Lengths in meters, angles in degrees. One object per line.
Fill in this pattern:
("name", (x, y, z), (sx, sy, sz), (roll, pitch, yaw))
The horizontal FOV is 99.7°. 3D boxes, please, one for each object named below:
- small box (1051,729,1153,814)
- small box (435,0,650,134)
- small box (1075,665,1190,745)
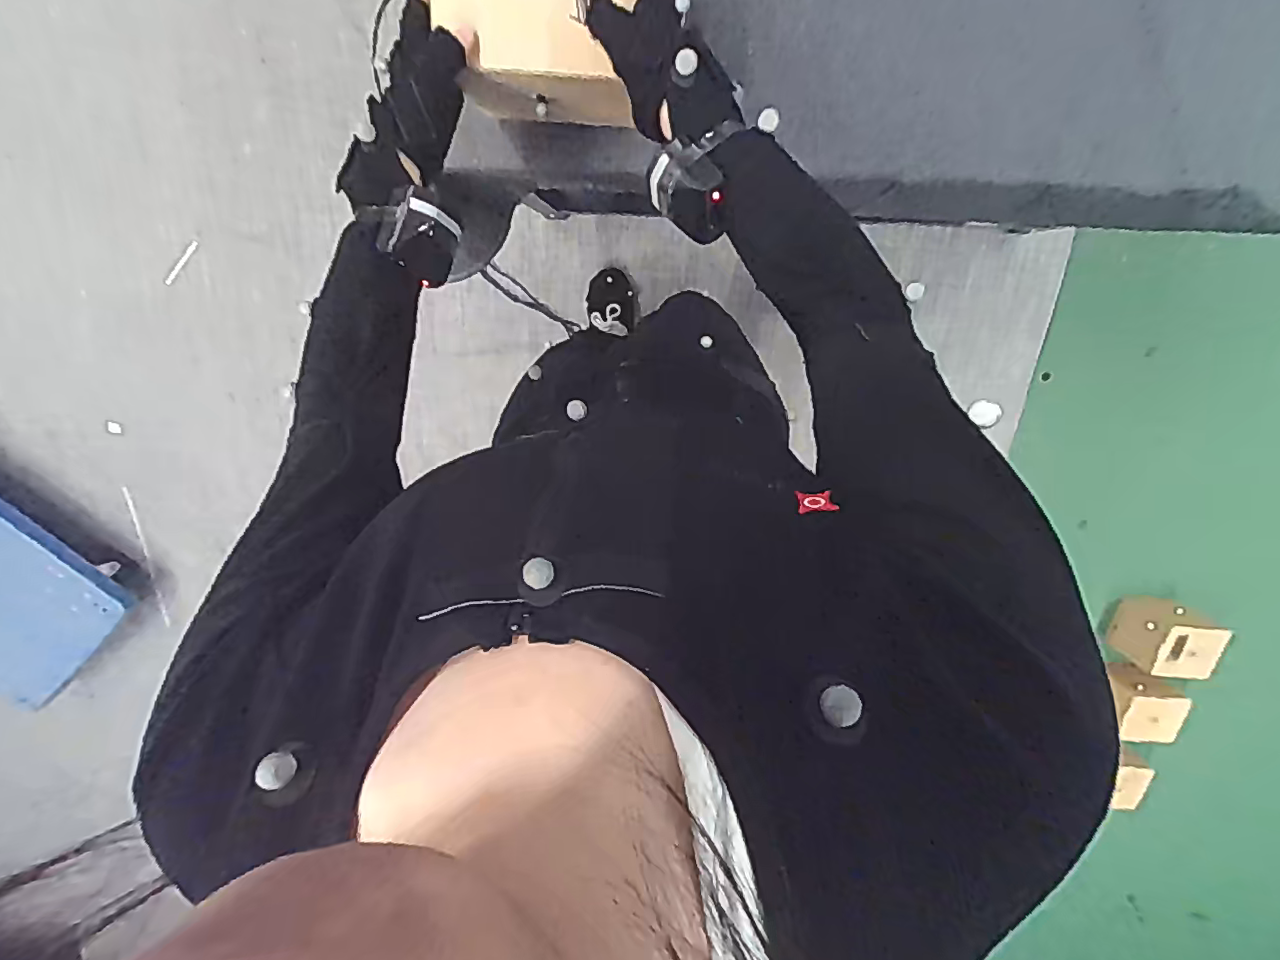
("small box", (1.509, 0.959, 1.782), (0.168, 0.176, 0.179), (5, 110, -1))
("small box", (-0.080, -0.443, 0.511), (0.179, 0.176, 0.168), (4, 111, 0))
("small box", (1.530, 0.700, 1.691), (0.179, 0.176, 0.168), (3, 110, 0))
